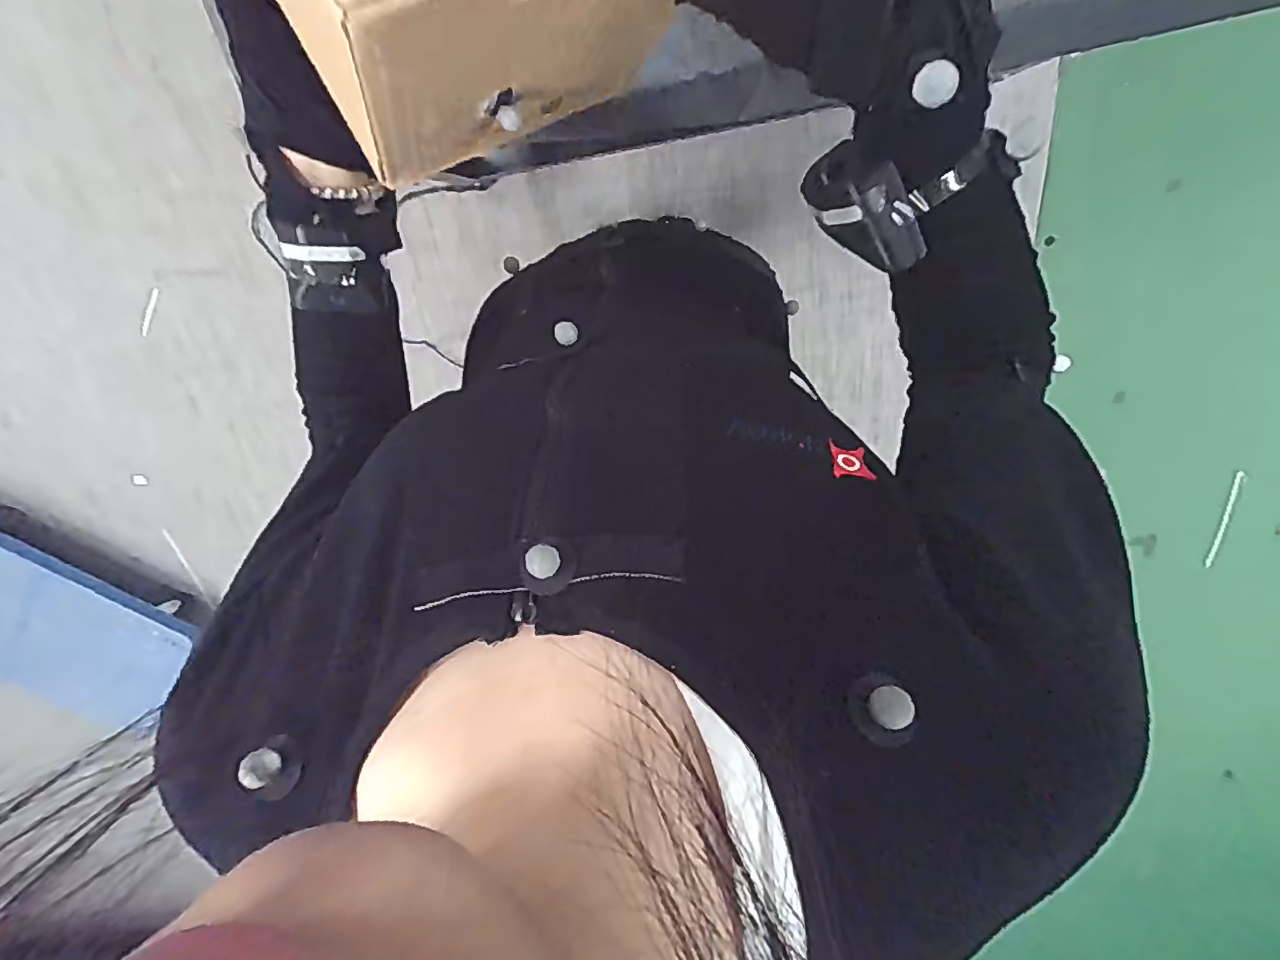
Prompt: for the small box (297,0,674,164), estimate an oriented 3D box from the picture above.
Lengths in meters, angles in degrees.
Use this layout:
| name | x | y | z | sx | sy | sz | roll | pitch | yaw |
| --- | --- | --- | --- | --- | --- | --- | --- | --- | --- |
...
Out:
| name | x | y | z | sx | sy | sz | roll | pitch | yaw |
| --- | --- | --- | --- | --- | --- | --- | --- | --- | --- |
| small box | -0.082 | -0.272 | 0.223 | 0.168 | 0.176 | 0.179 | -33 | 112 | -11 |
